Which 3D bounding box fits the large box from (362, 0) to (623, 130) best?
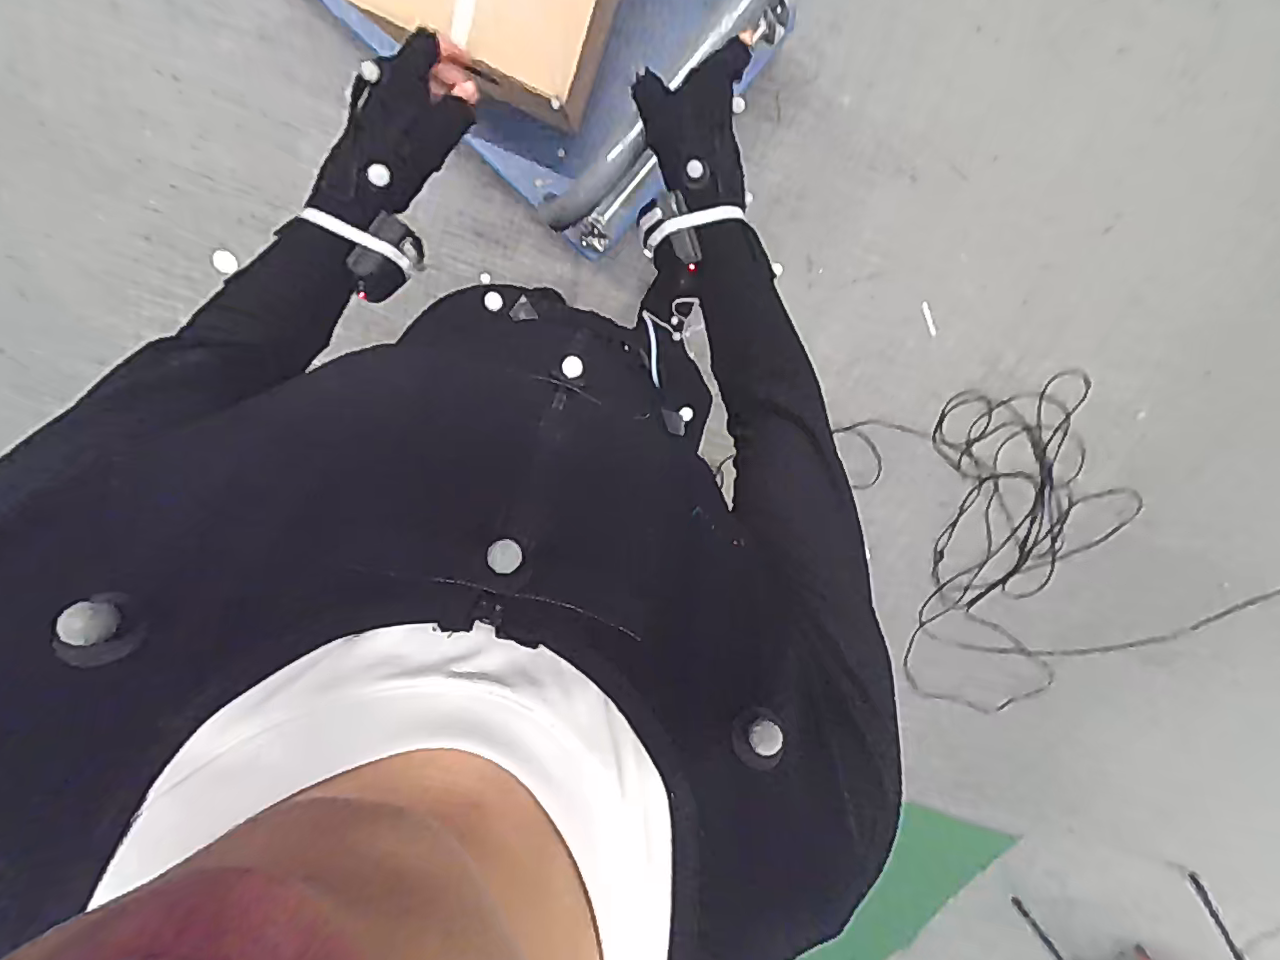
[{"bbox_3d":[-0.167,-0.822,0.804,0.320,0.320,0.408,20,114,-12],"label":"large box"}]
